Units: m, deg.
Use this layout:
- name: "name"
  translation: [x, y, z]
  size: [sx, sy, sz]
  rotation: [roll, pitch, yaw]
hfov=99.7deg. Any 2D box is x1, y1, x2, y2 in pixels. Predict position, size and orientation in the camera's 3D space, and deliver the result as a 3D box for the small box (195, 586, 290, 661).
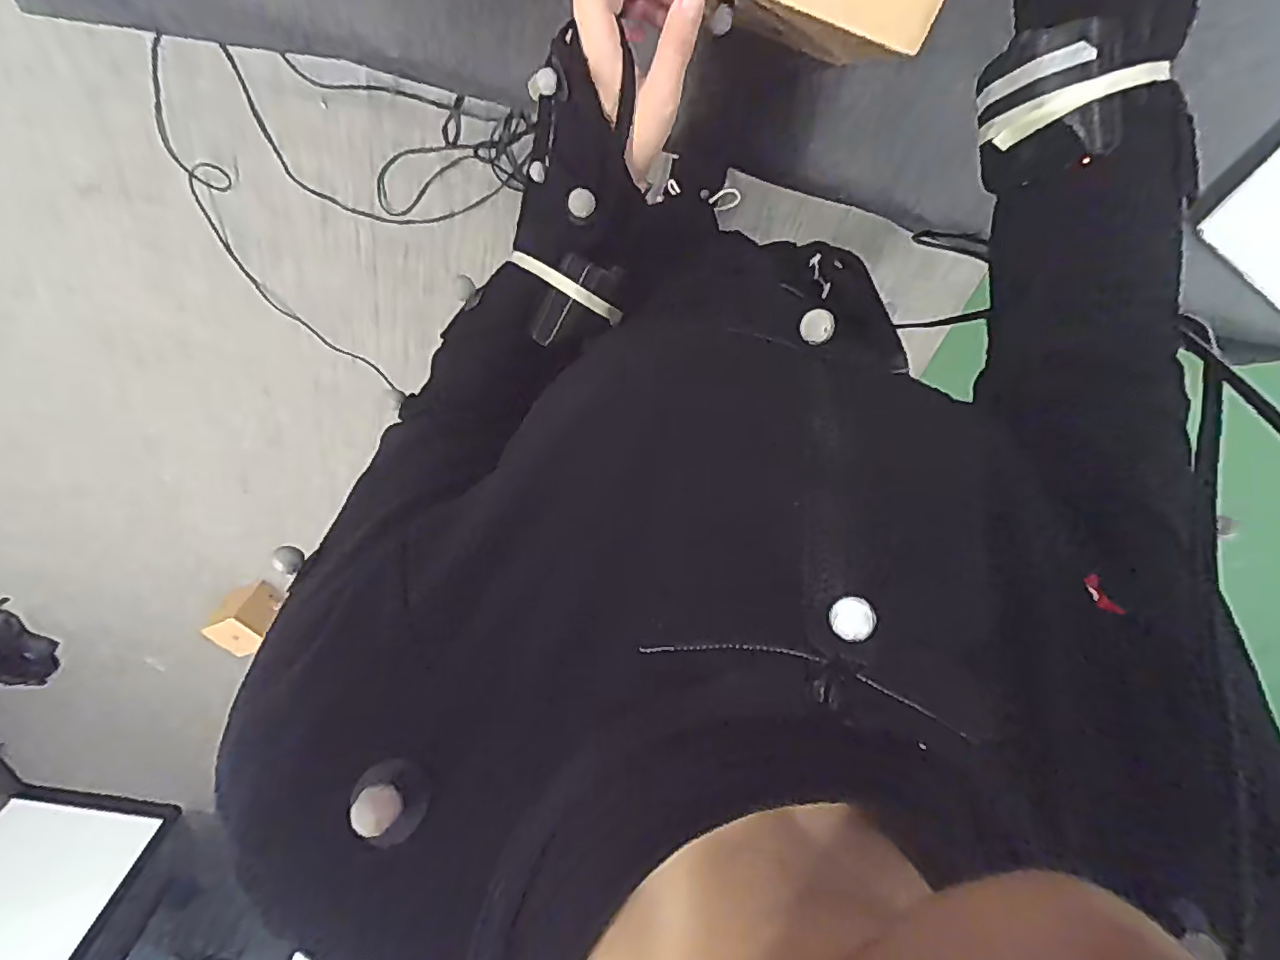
- name: "small box"
  translation: [-1.387, 0.502, 1.900]
  size: [0.179, 0.176, 0.168]
  rotation: [-22, 123, 17]
